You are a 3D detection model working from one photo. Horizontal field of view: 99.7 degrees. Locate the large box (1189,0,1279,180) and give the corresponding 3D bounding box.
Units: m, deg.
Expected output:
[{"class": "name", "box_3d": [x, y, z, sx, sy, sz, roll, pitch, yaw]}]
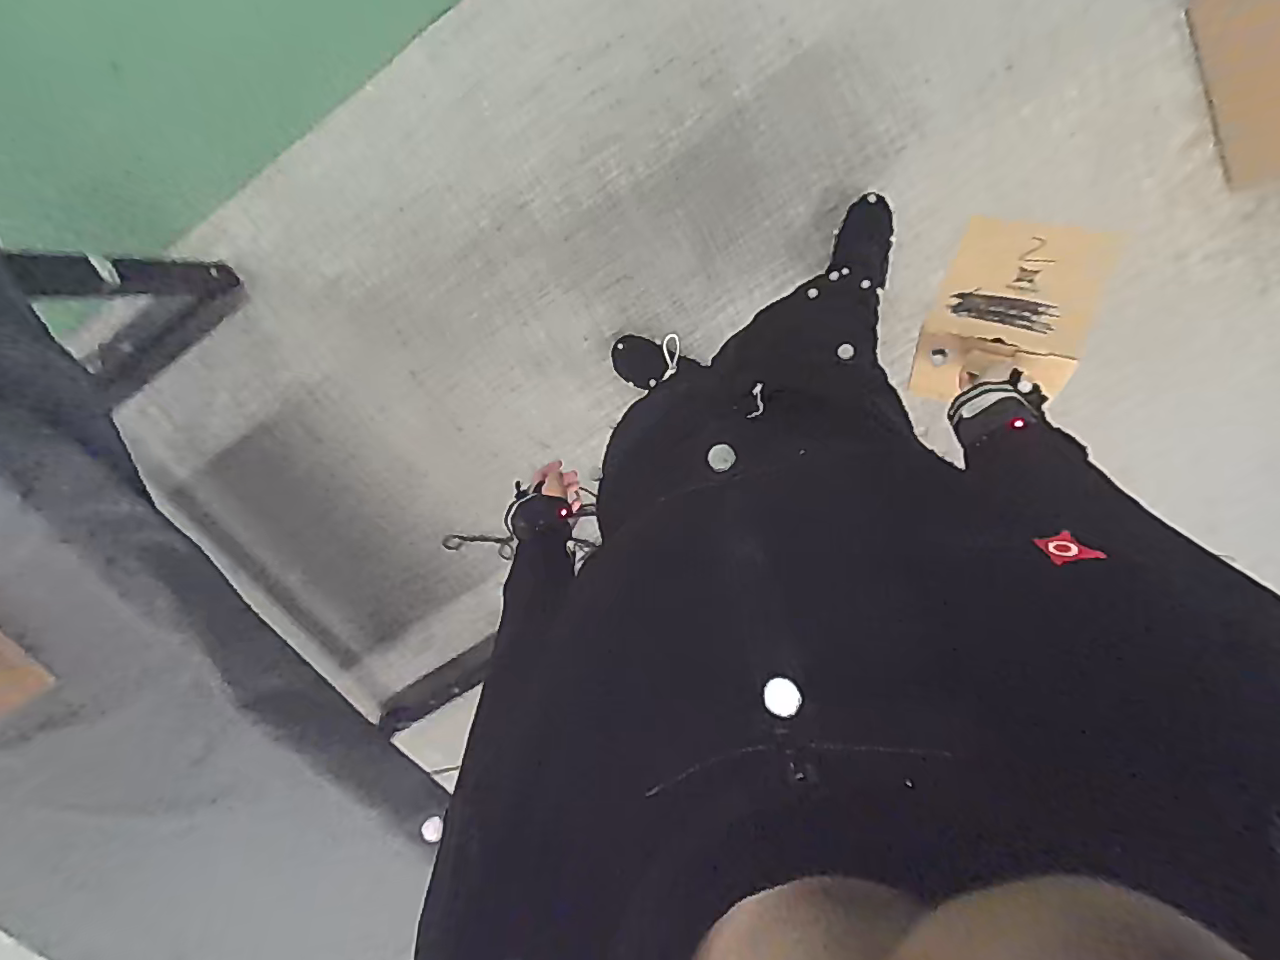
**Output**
[{"class": "large box", "box_3d": [1.297, -0.822, 0.940, 0.320, 0.320, 0.408, -33, 108, 11]}]
